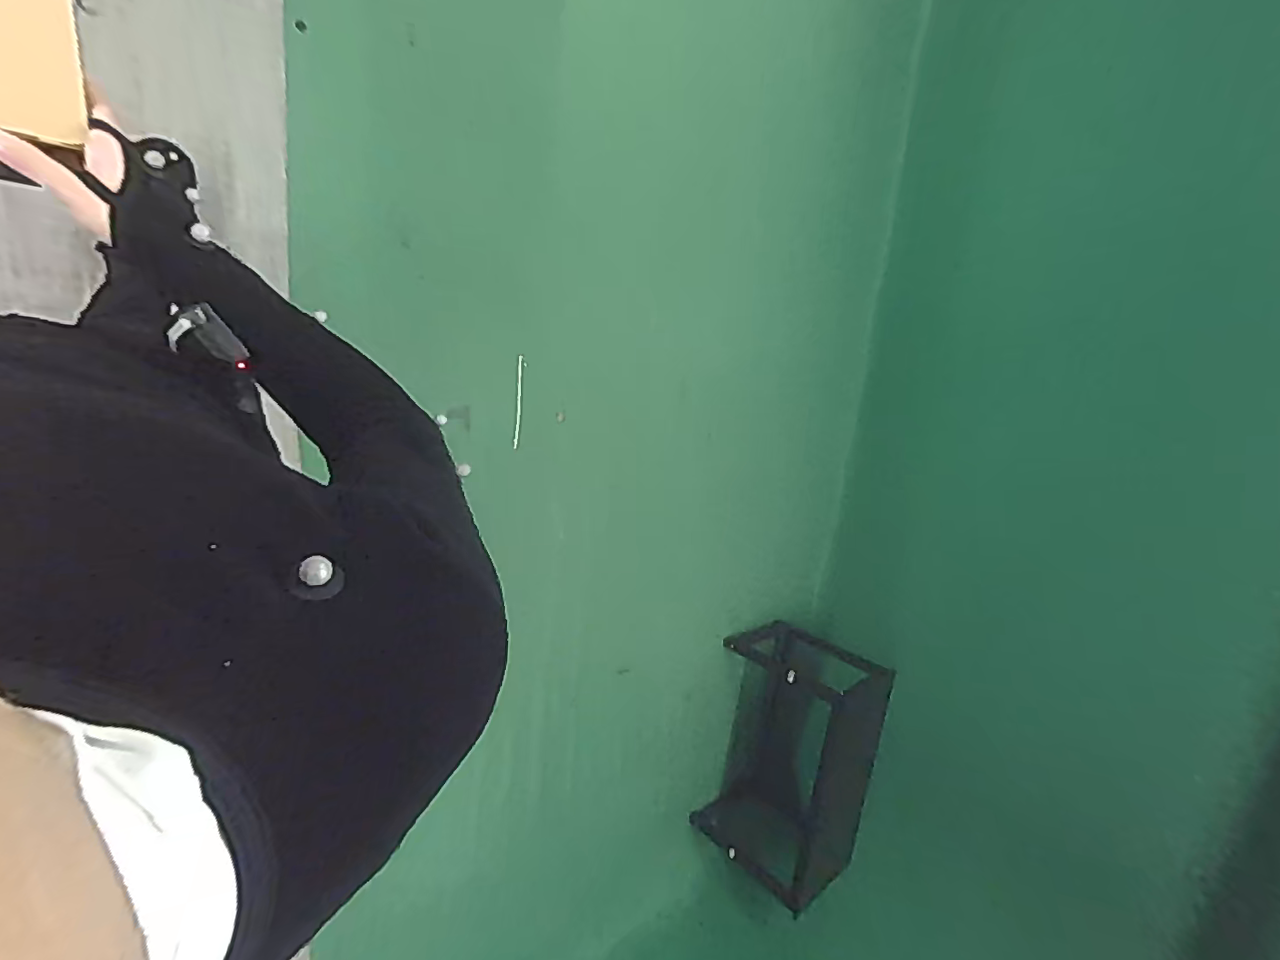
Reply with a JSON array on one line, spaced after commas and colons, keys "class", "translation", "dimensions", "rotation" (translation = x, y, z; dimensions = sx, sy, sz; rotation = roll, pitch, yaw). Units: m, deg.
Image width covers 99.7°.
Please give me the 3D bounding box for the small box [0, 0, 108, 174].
[{"class": "small box", "translation": [-0.556, -0.370, 0.432], "dimensions": [0.168, 0.176, 0.179], "rotation": [-11, 111, -41]}]
